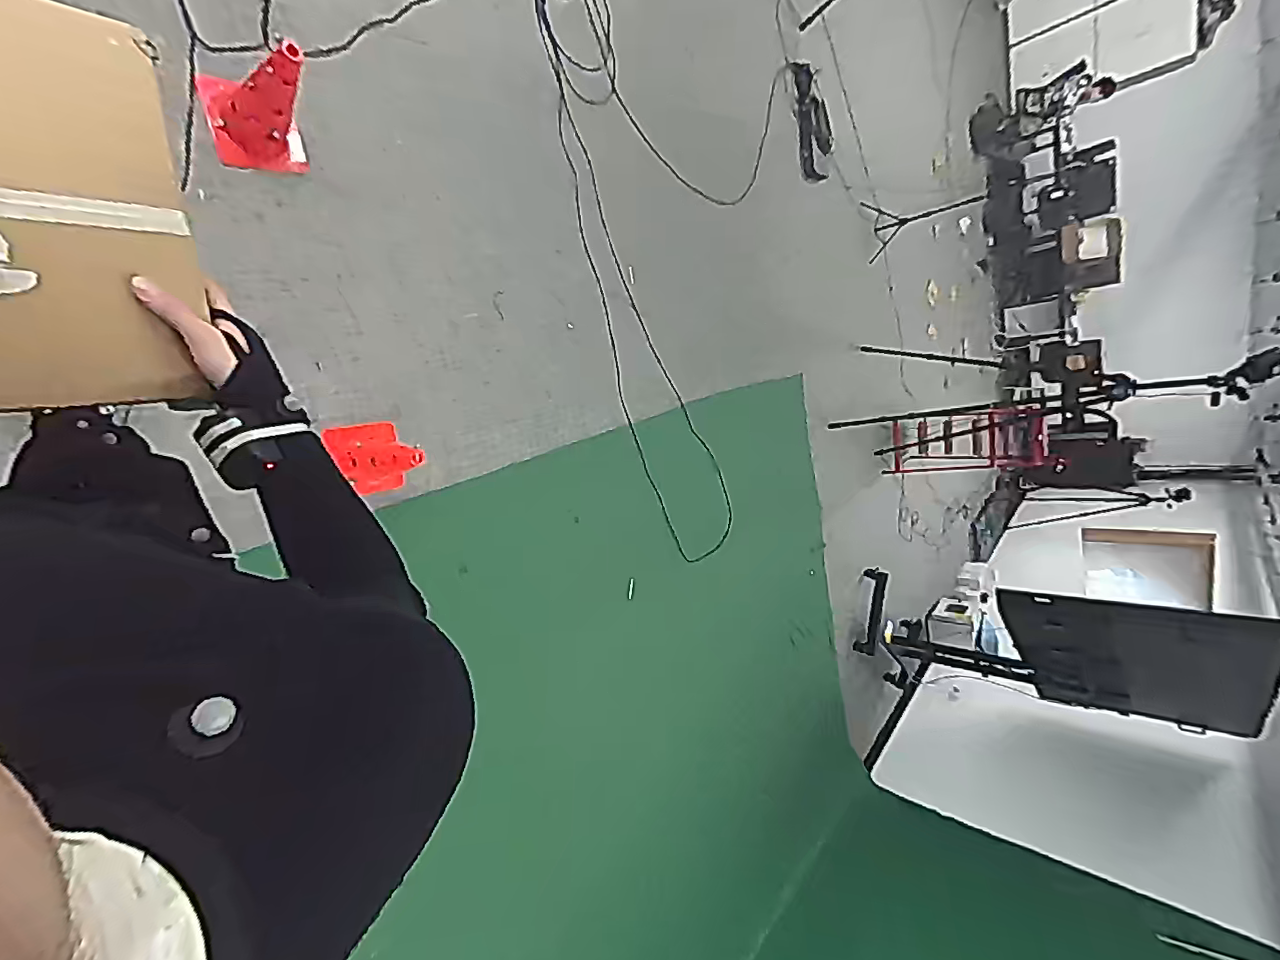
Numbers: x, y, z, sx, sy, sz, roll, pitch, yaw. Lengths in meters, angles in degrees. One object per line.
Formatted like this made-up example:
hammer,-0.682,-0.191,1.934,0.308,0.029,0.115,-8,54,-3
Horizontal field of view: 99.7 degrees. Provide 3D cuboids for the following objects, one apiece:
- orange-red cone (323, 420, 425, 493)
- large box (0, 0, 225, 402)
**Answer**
orange-red cone,-0.671,-0.064,1.443,0.199,0.360,0.198,-15,102,-46
large box,-0.666,-0.221,0.468,0.408,0.320,0.320,-16,109,-45
